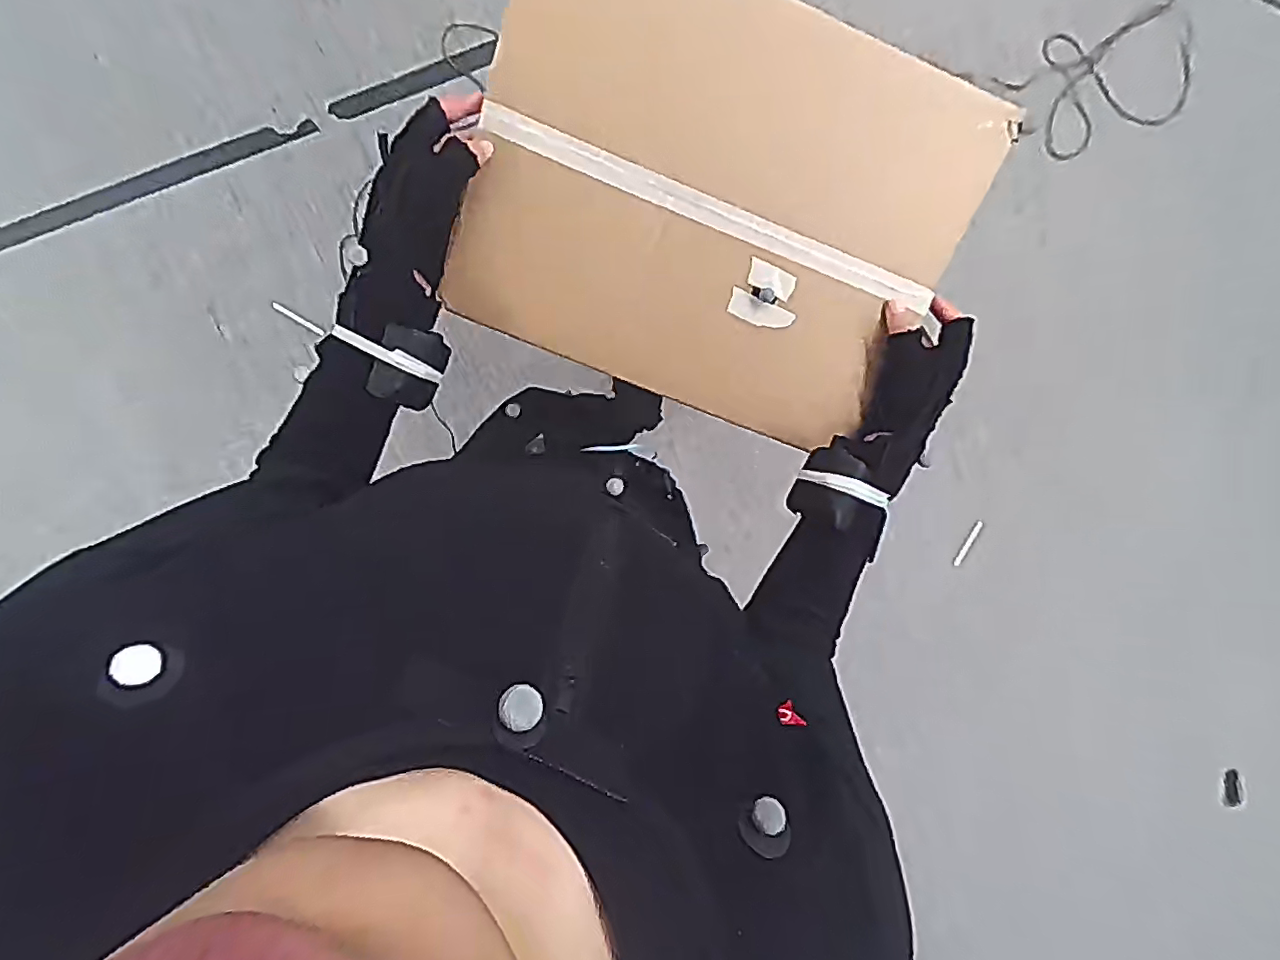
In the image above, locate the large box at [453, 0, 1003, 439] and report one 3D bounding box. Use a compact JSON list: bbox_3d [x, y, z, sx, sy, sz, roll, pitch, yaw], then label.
[{"bbox_3d":[0.063,-0.282,0.610,0.408,0.320,0.320,20,107,-6],"label":"large box"}]
